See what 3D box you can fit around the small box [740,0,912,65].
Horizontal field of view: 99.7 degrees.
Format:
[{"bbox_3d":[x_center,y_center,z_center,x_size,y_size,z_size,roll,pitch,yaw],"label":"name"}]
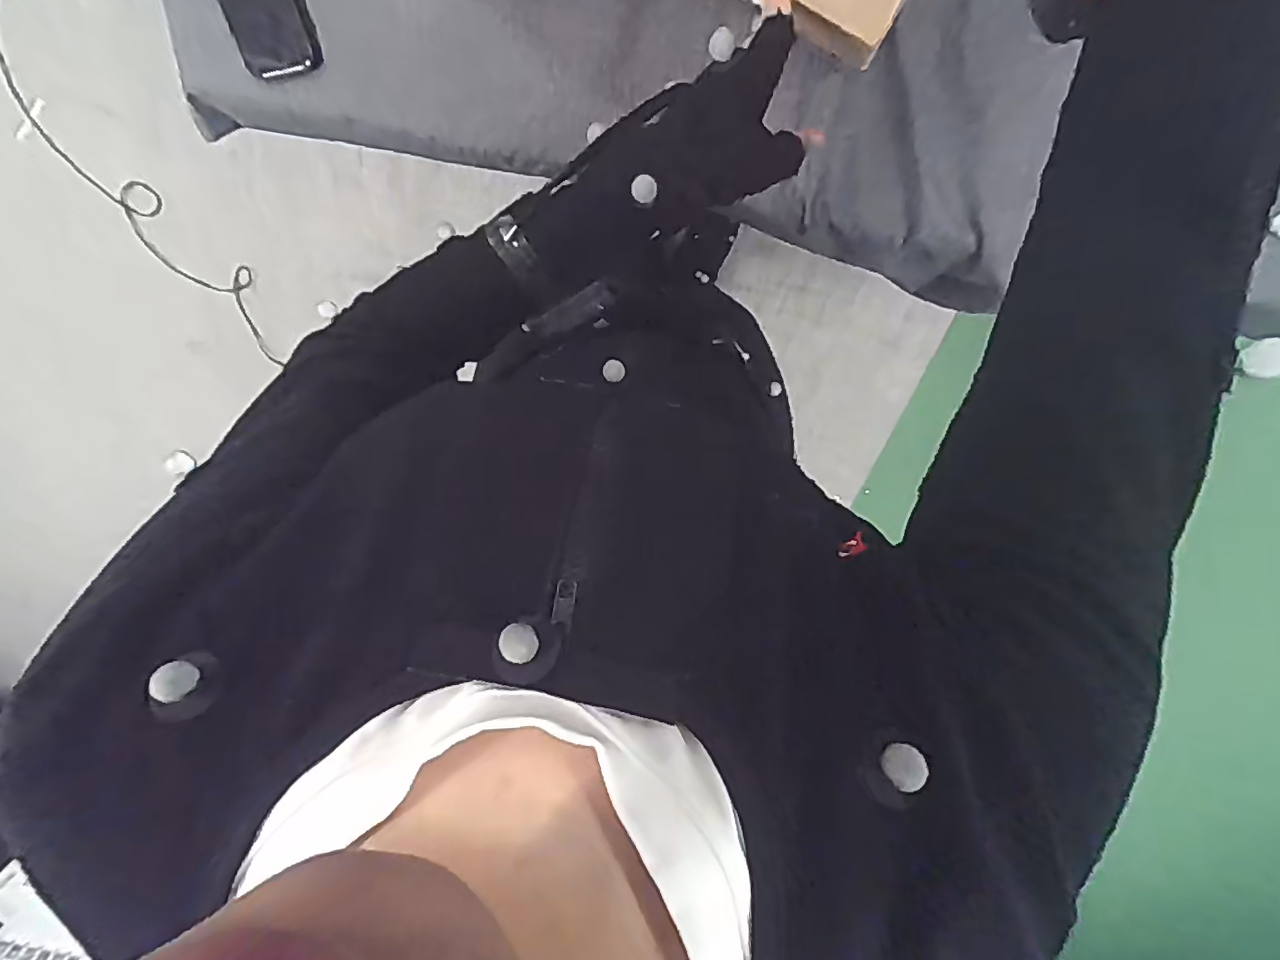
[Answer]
[{"bbox_3d":[0.143,-0.419,0.362,0.168,0.176,0.179,29,127,0],"label":"small box"}]
